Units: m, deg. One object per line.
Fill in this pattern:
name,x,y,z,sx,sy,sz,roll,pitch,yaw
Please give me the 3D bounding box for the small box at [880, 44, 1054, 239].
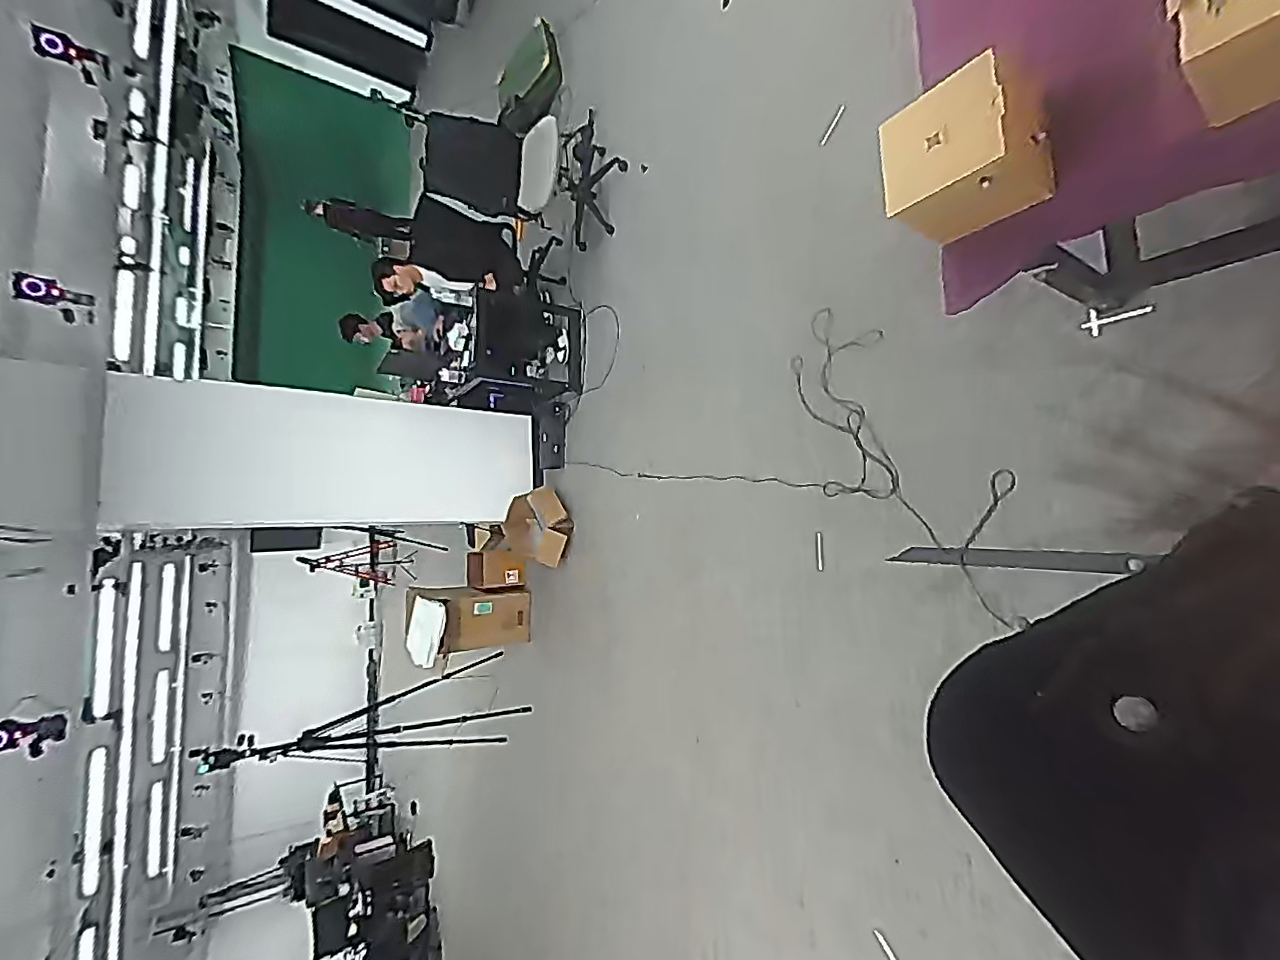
small box,0.509,-0.510,0.850,0.179,0.176,0.168,-11,79,55
